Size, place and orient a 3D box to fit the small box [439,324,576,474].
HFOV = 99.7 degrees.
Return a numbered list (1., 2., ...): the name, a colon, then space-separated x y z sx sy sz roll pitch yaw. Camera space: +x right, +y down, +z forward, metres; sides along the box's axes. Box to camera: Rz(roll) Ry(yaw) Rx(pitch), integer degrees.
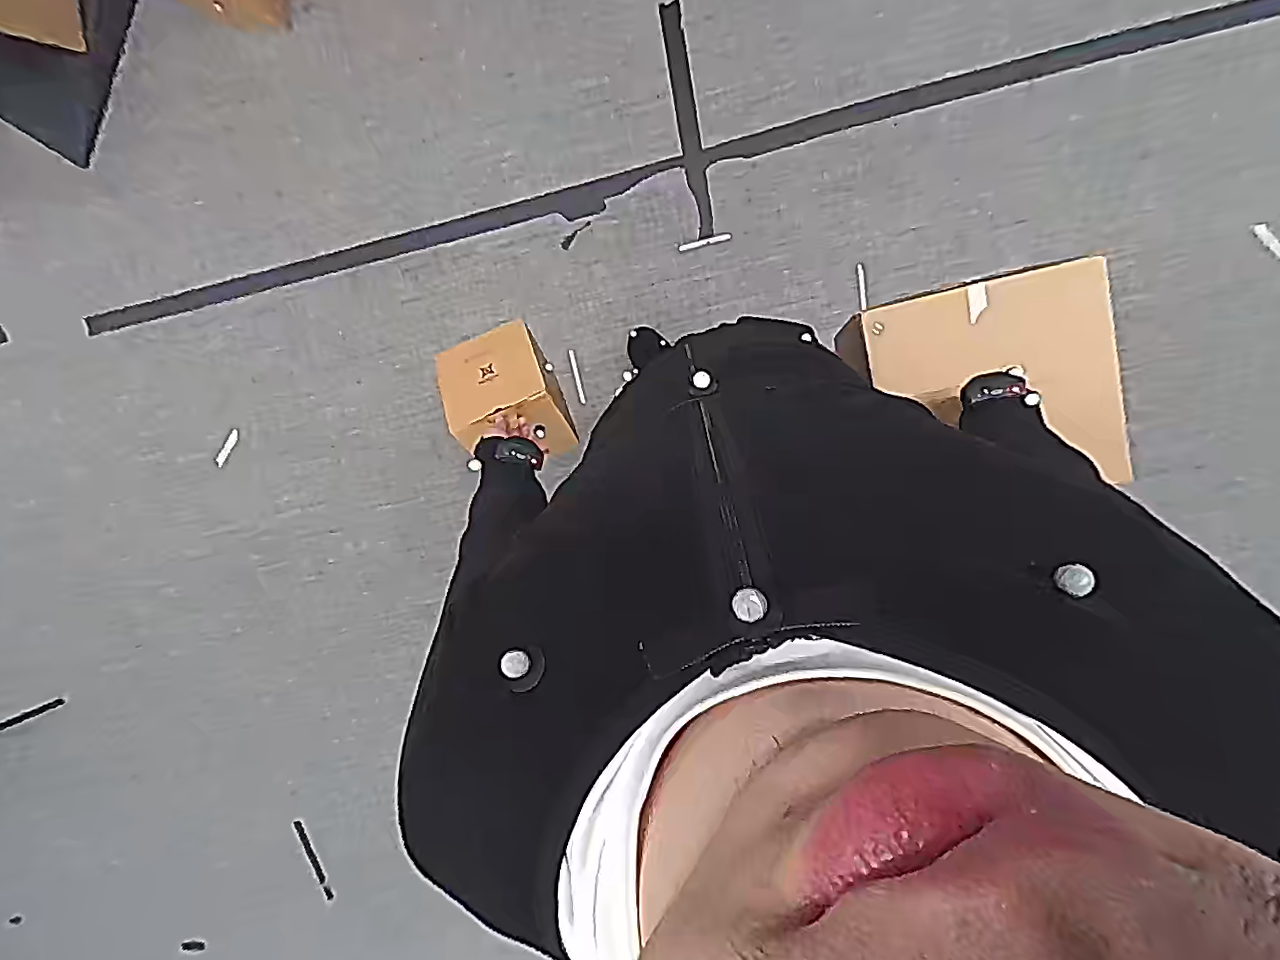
1. small box: -0.227 -0.131 0.952 0.168 0.179 0.176 -23 148 1
